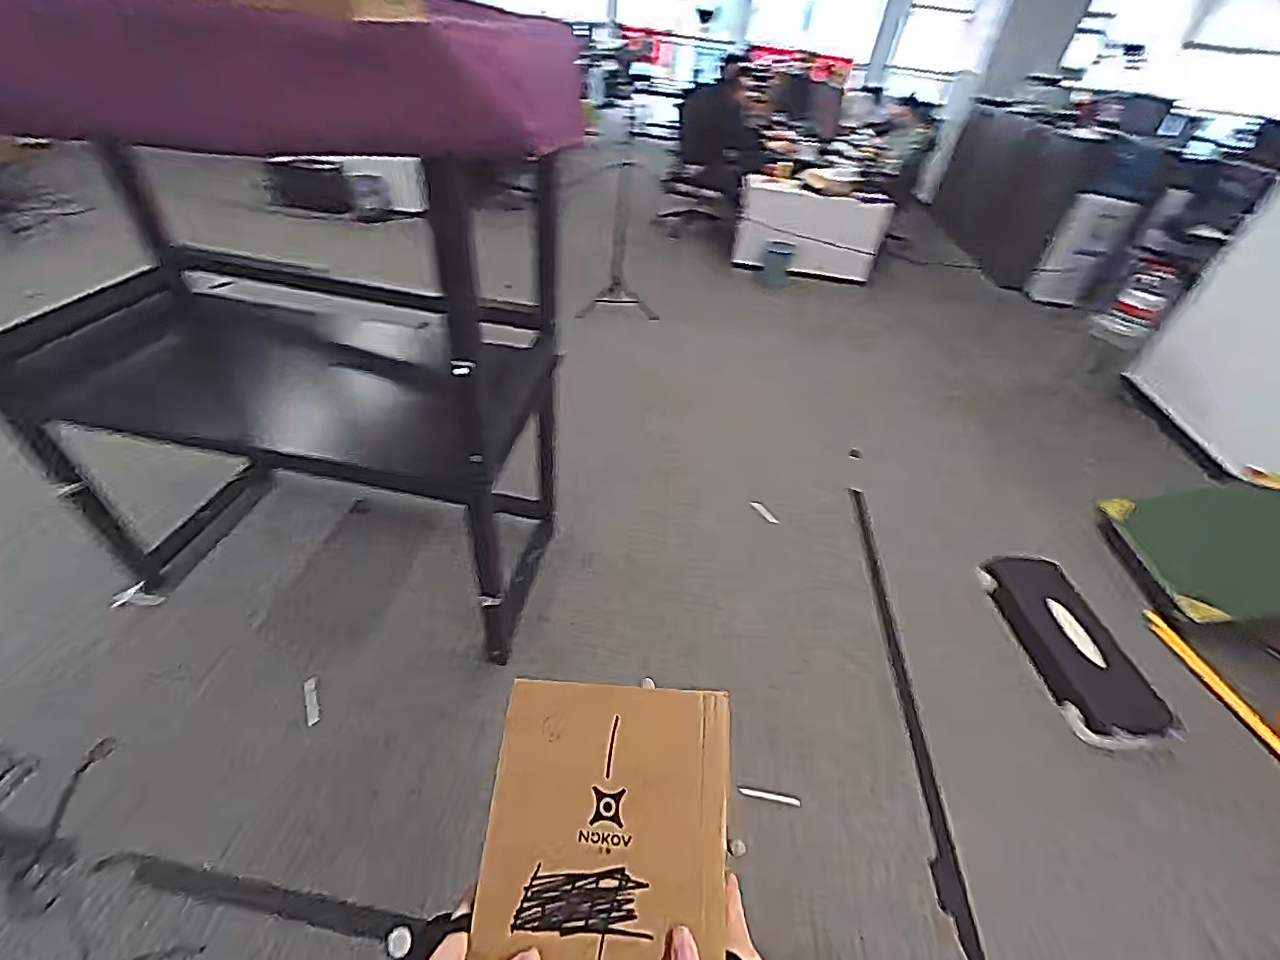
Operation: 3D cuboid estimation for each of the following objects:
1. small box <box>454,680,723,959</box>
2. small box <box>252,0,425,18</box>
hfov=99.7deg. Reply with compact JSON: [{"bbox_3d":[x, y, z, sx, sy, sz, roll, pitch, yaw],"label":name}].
[{"bbox_3d":[-0.020,0.261,0.426,0.168,0.176,0.179,-1,64,8],"label":"small box"},{"bbox_3d":[-0.400,-0.707,0.689,0.179,0.176,0.168,11,40,6],"label":"small box"}]
